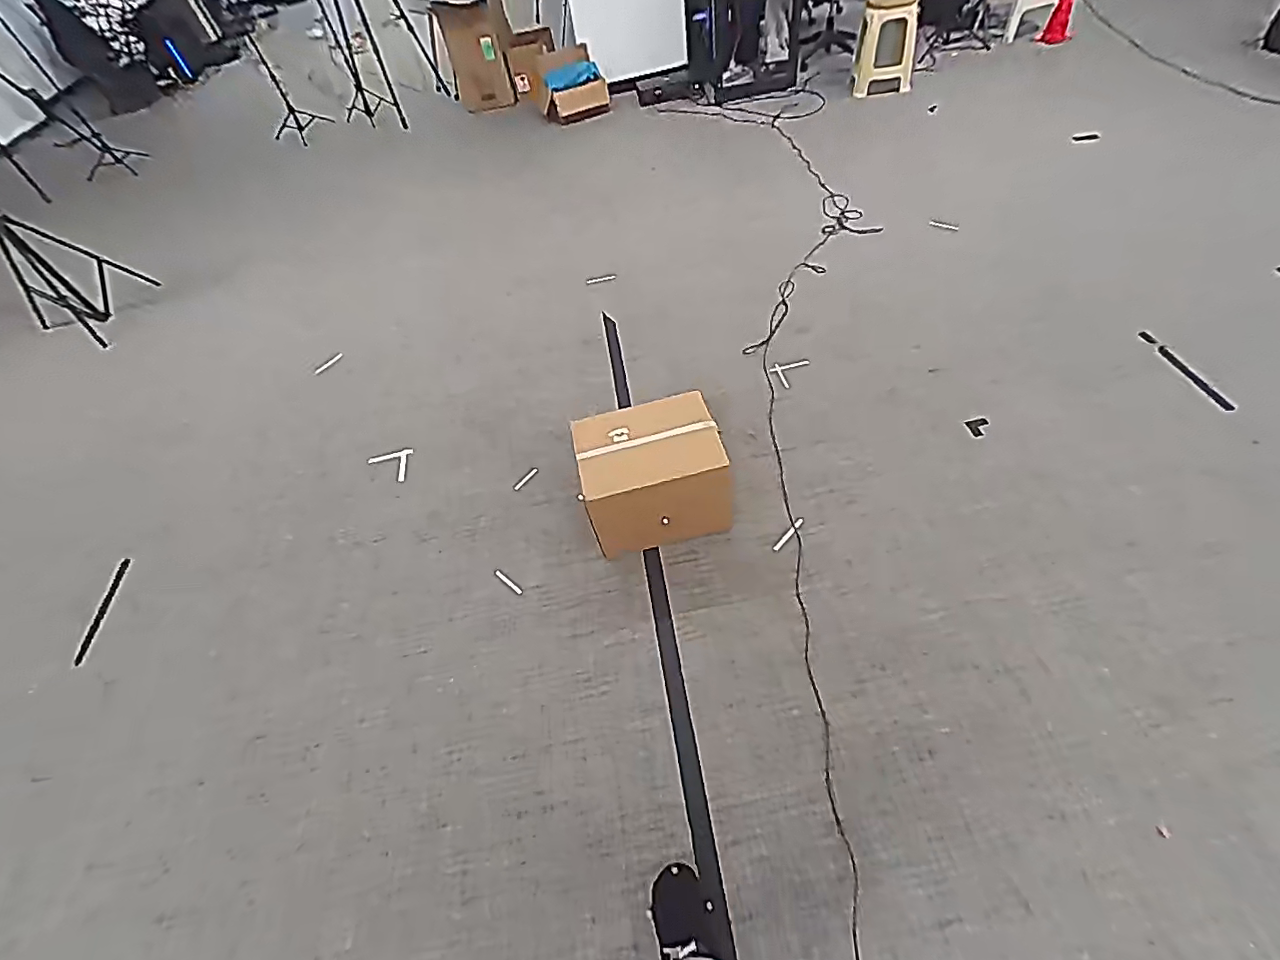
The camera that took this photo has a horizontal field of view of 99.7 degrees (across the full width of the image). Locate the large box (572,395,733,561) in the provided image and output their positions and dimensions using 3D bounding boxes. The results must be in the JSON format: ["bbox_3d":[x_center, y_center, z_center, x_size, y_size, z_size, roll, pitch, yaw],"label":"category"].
[{"bbox_3d":[0.042,-0.002,1.639,0.408,0.320,0.320,-15,50,0],"label":"large box"}]
